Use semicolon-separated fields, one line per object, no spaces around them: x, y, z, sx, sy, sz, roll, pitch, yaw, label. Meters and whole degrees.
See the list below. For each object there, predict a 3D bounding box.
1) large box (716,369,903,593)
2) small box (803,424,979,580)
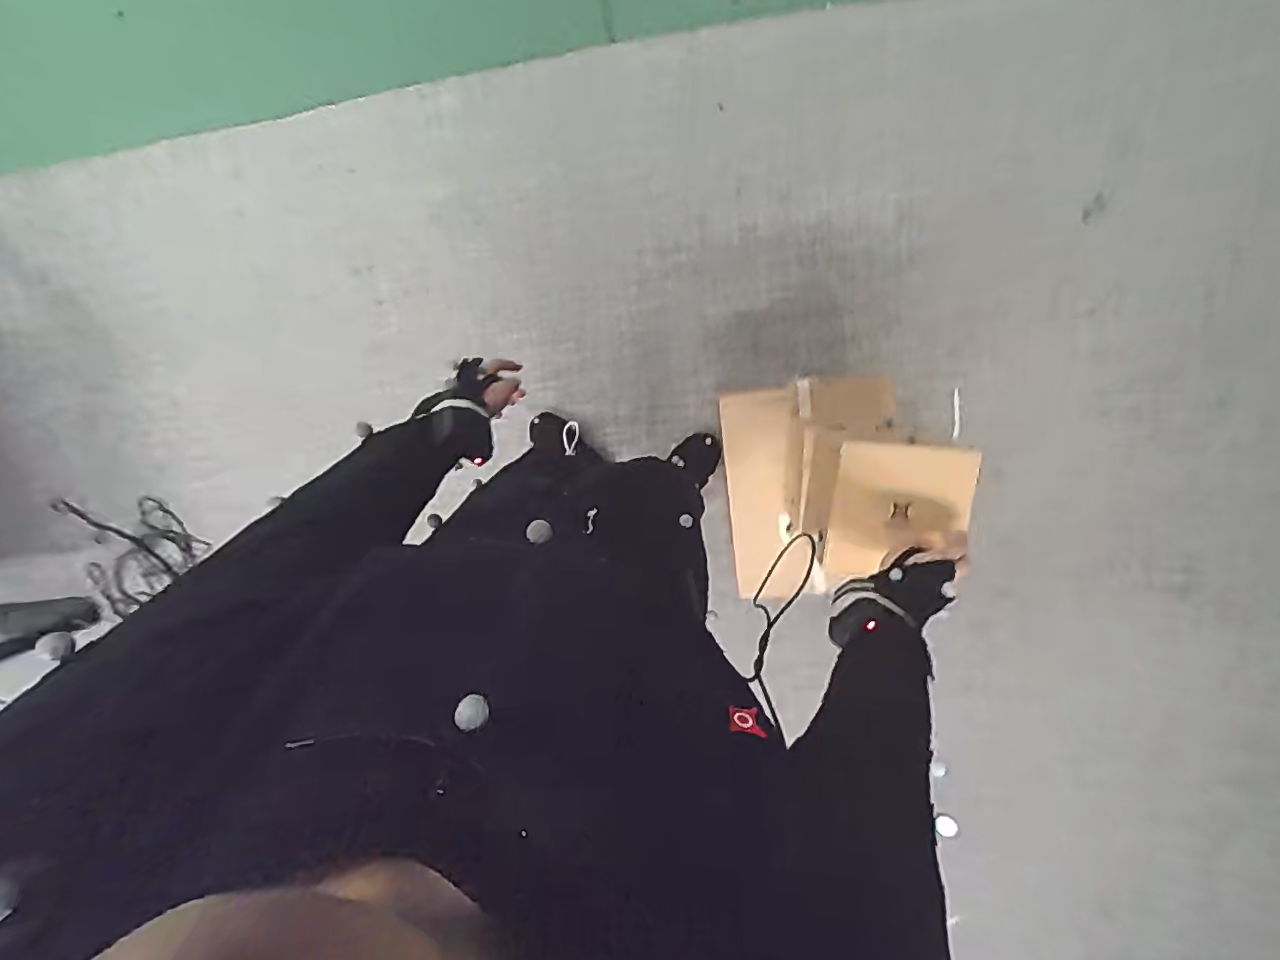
0.342;-0.015;1.163;0.320;0.320;0.408;-6;102;9;large box
0.332;0.020;0.753;0.168;0.176;0.179;5;103;6;small box
